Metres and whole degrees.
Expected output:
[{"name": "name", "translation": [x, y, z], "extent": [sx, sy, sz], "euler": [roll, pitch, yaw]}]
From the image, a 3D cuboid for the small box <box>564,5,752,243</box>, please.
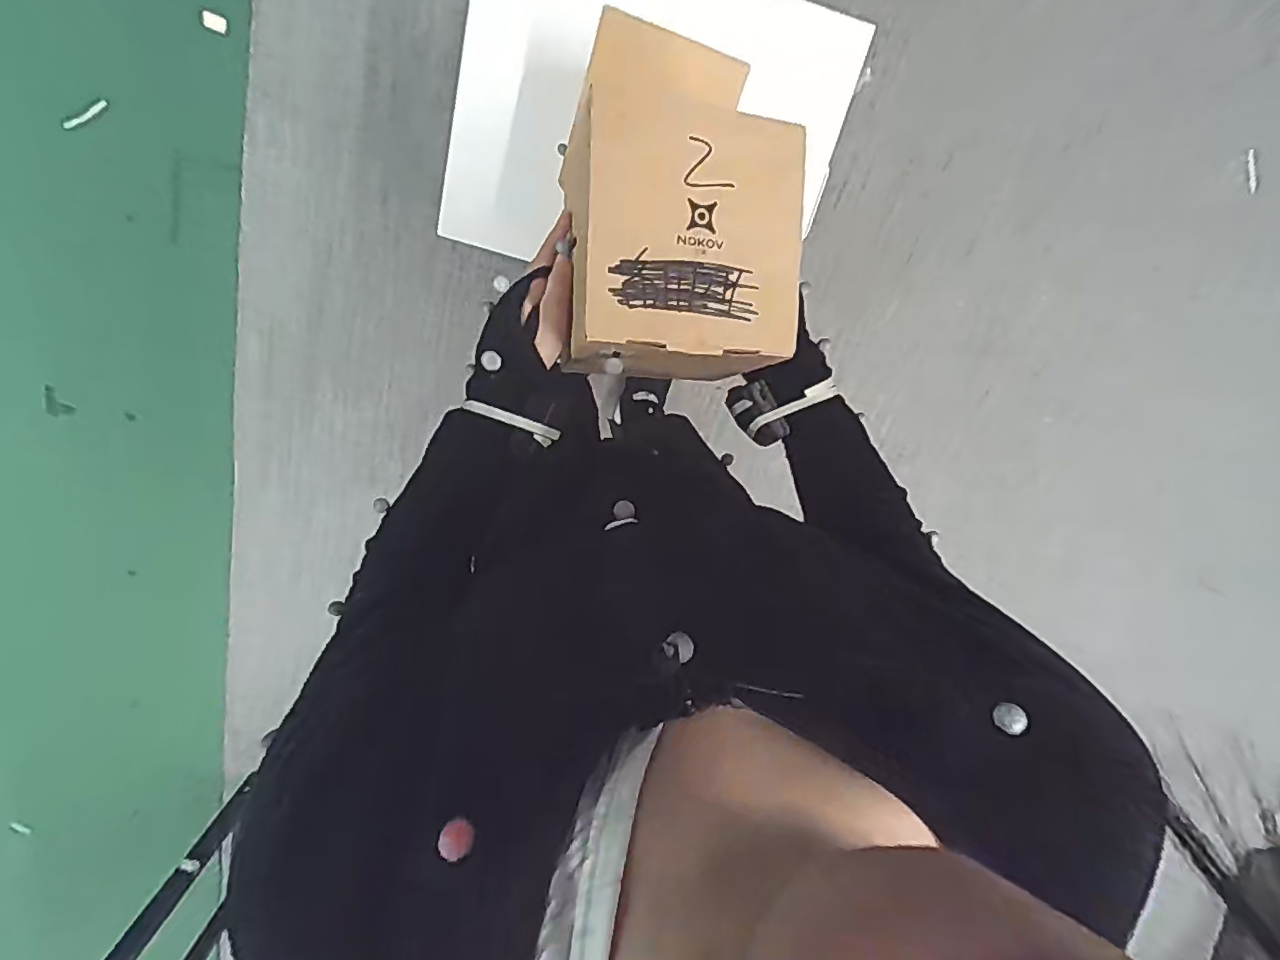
[{"name": "small box", "translation": [0.015, -0.409, 0.659], "extent": [0.168, 0.176, 0.179], "euler": [17, 108, -6]}]
